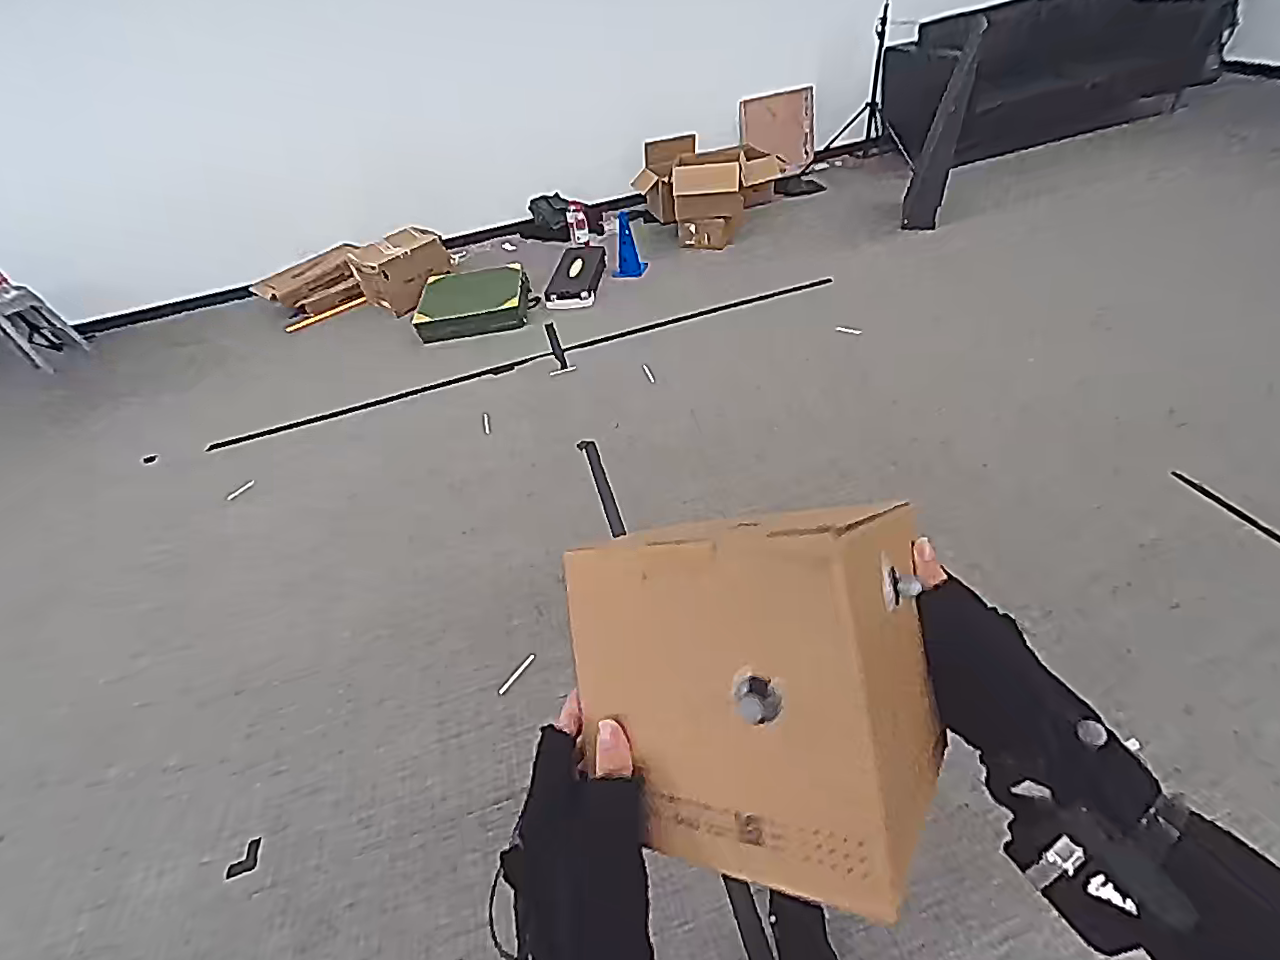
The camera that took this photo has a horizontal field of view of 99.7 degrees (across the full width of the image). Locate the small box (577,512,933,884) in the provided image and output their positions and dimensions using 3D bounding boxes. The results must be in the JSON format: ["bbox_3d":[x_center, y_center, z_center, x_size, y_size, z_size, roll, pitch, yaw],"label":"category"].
[{"bbox_3d":[0.084,0.120,0.360,0.168,0.176,0.179,-10,-6,35],"label":"small box"}]
